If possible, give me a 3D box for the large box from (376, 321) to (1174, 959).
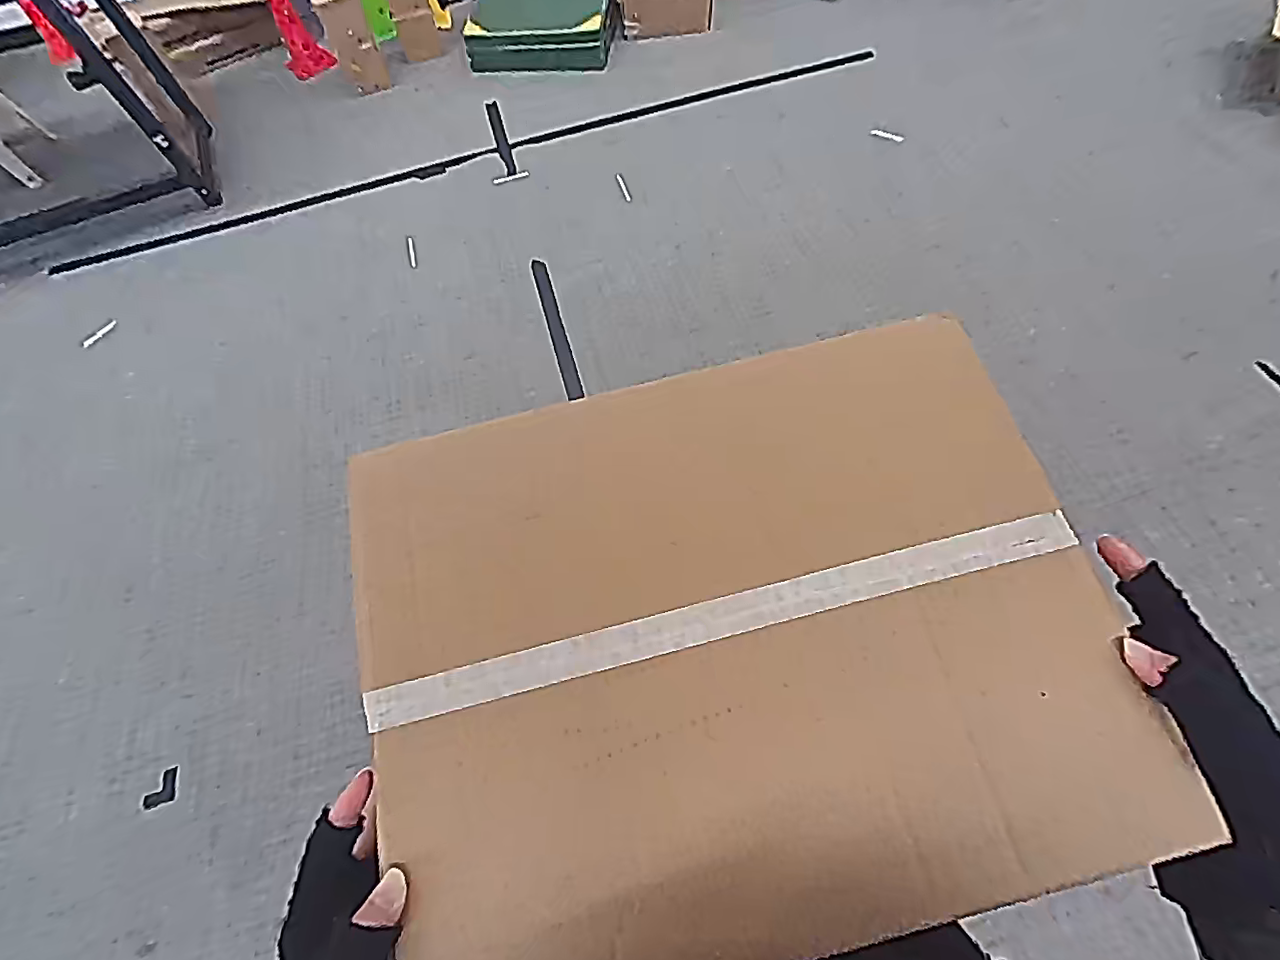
[{"bbox_3d":[0.056,0.127,0.461,0.408,0.320,0.320,-14,71,-2],"label":"large box"}]
